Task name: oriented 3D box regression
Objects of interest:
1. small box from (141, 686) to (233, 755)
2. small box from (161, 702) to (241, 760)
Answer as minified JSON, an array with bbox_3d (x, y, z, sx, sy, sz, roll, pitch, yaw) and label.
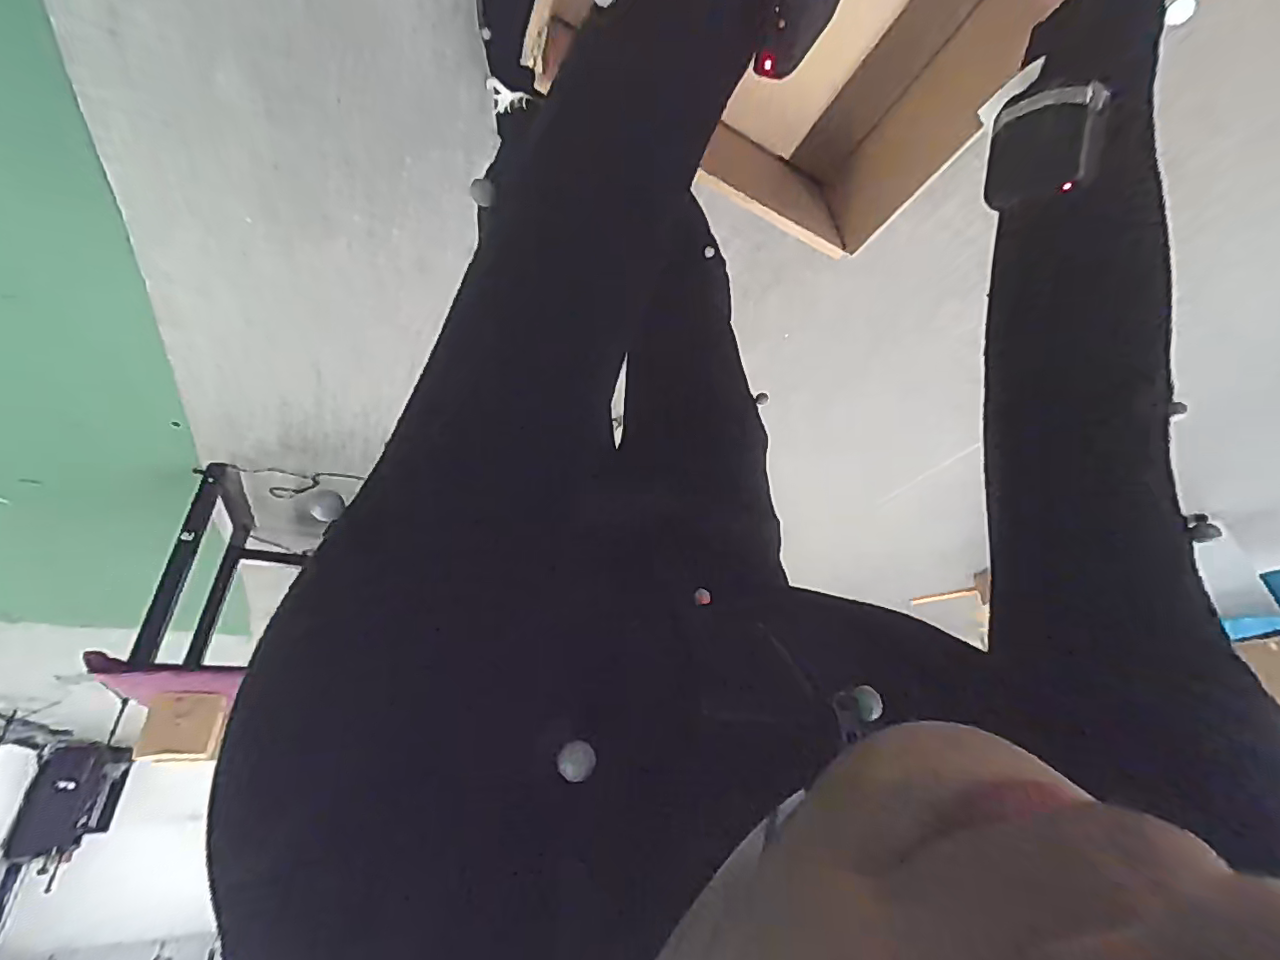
[{"bbox_3d":[-1.340,0.715,1.610,0.168,0.176,0.179,14,147,-27],"label":"small box"},{"bbox_3d":[-1.467,0.842,1.820,0.168,0.176,0.179,13,145,-27],"label":"small box"}]
